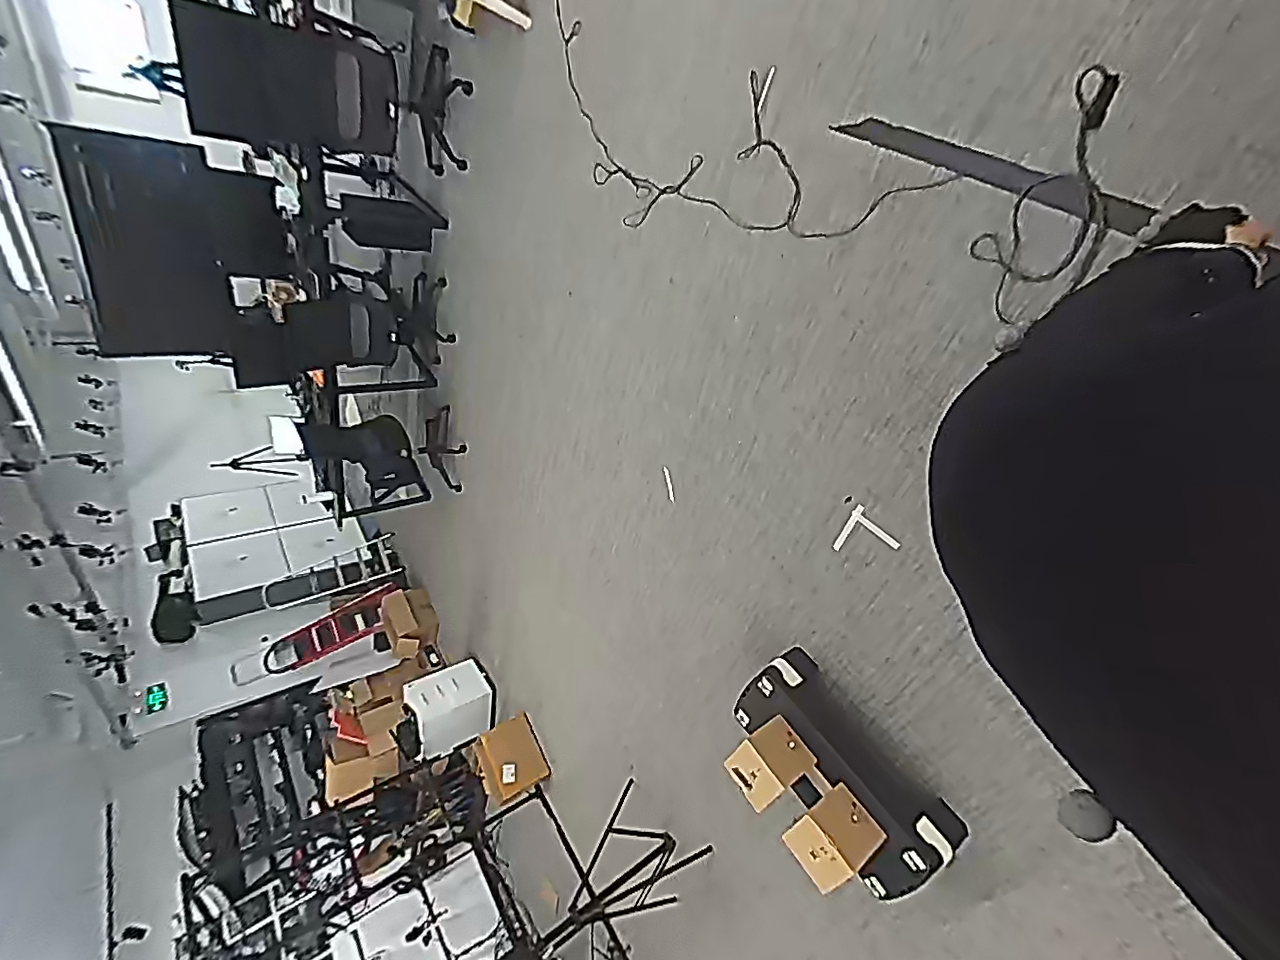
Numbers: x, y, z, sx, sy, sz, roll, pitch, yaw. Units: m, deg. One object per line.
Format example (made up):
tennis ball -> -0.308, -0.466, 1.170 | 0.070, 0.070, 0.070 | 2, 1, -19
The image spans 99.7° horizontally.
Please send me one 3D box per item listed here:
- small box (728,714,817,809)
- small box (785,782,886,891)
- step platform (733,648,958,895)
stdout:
small box -> 0.406, 0.853, 1.647 | 0.168, 0.176, 0.179 | 49, 134, 31
small box -> 0.547, 0.988, 1.505 | 0.168, 0.176, 0.179 | 47, 134, 32
step platform -> 0.600, 0.887, 1.695 | 0.684, 0.204, 0.286 | 46, 134, 33
